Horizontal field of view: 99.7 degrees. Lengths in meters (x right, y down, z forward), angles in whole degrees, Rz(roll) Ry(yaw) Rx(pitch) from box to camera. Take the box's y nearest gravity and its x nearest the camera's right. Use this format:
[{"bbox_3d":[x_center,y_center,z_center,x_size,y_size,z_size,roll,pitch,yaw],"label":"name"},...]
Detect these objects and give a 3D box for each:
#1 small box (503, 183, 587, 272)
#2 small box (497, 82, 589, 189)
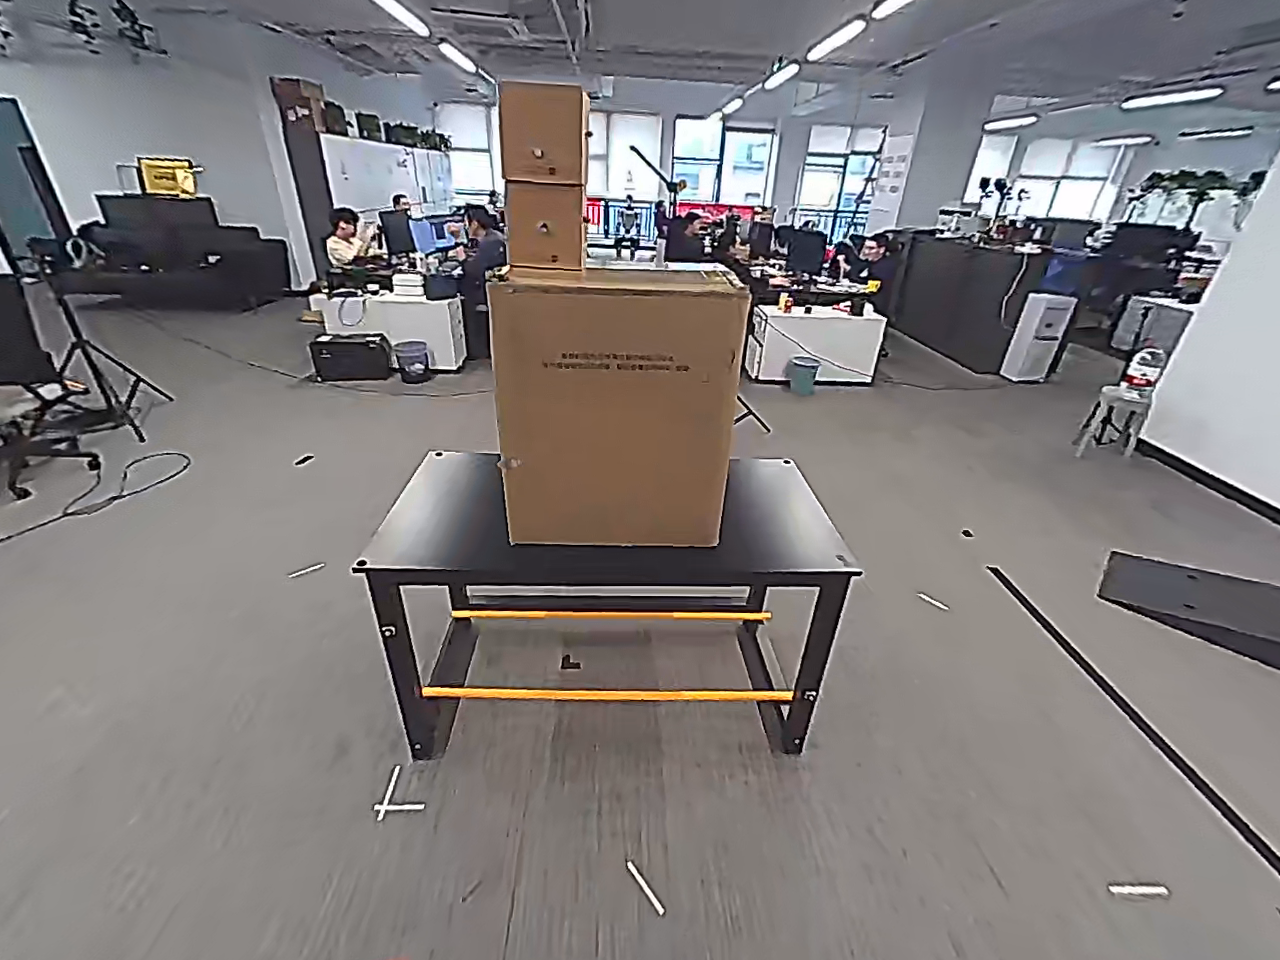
[{"bbox_3d":[-0.207,-0.573,1.224,0.168,0.176,0.179,2,29,-4],"label":"small box"},{"bbox_3d":[-0.195,-0.710,1.131,0.168,0.176,0.179,2,29,-2],"label":"small box"}]
